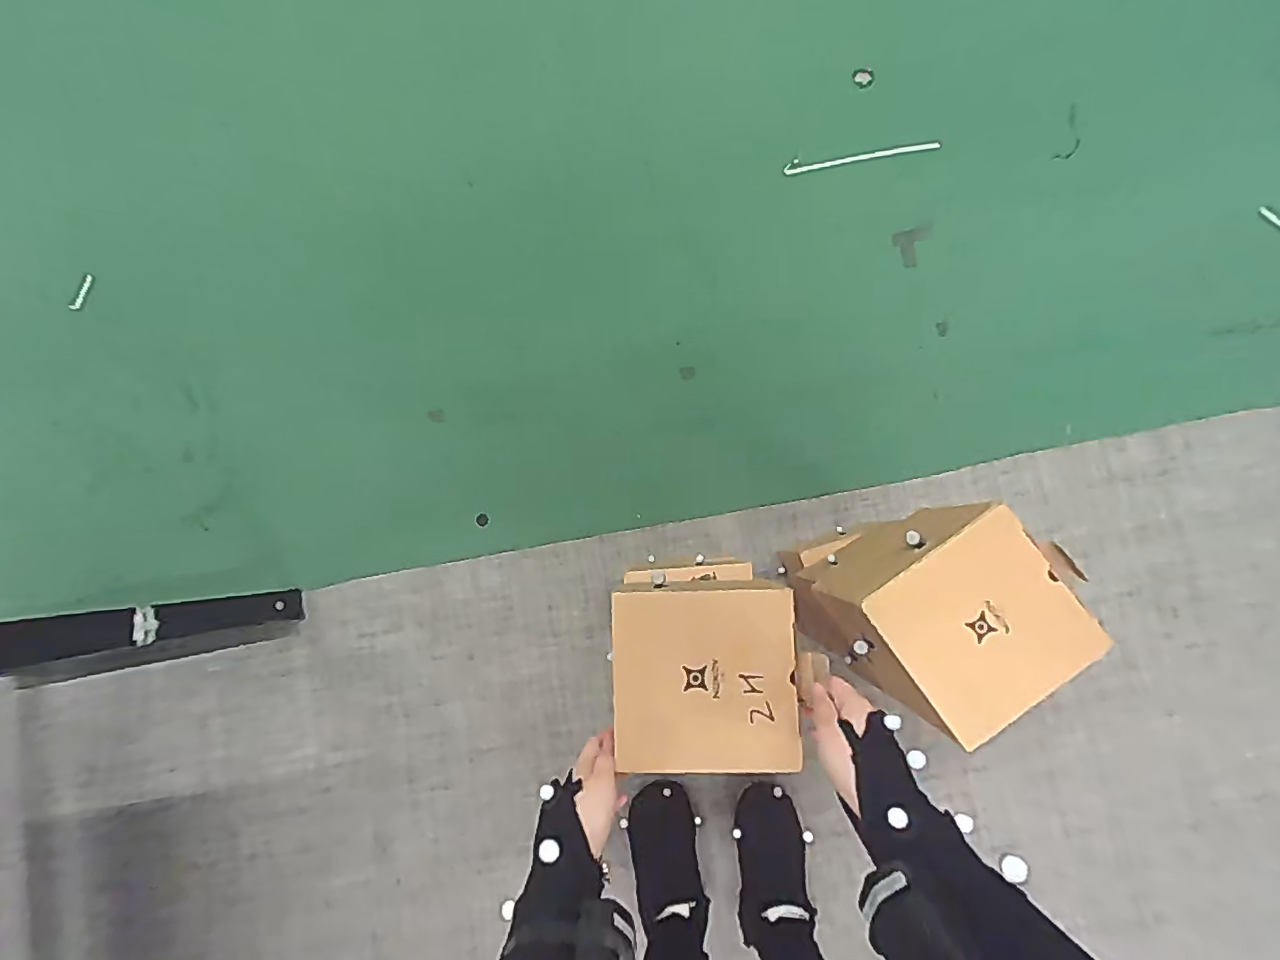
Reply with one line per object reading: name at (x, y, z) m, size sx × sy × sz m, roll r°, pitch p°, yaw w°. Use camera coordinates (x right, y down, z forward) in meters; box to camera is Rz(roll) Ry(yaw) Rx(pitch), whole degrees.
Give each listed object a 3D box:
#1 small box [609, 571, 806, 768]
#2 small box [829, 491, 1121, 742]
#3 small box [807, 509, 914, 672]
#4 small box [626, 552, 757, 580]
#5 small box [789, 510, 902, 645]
small box at (0.066, 0.186, 0.574) m, size 0.179 × 0.176 × 0.168 m, roll -2°, pitch 84°, yaw 4°
small box at (0.326, 0.132, 0.576) m, size 0.179 × 0.176 × 0.168 m, roll -36°, pitch 84°, yaw -2°
small box at (0.349, 0.151, 0.737) m, size 0.179 × 0.176 × 0.168 m, roll -31°, pitch 85°, yaw -2°
small box at (0.074, 0.194, 0.742) m, size 0.168 × 0.176 × 0.179 m, roll -5°, pitch 84°, yaw 3°
small box at (0.361, 0.157, 0.899) m, size 0.179 × 0.176 × 0.168 m, roll -18°, pitch 84°, yaw -1°
